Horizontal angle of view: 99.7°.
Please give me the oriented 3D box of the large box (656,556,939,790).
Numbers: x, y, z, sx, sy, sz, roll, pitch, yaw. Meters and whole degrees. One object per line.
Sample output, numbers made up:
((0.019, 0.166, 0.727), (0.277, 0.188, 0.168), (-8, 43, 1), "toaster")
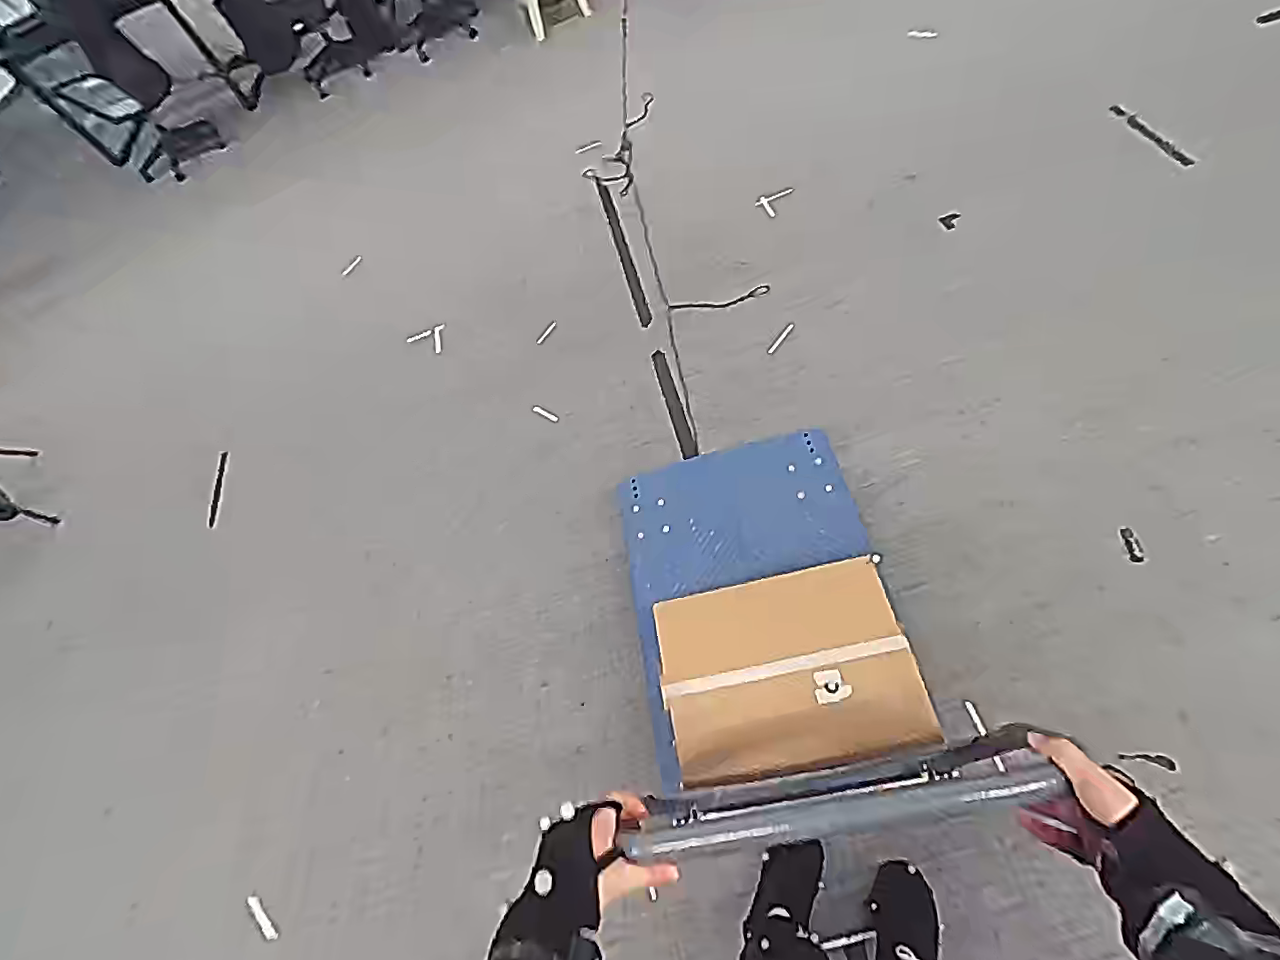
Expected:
((0.276, 0.387, 1.043), (0.408, 0.320, 0.320), (-15, 59, 7), "large box")
